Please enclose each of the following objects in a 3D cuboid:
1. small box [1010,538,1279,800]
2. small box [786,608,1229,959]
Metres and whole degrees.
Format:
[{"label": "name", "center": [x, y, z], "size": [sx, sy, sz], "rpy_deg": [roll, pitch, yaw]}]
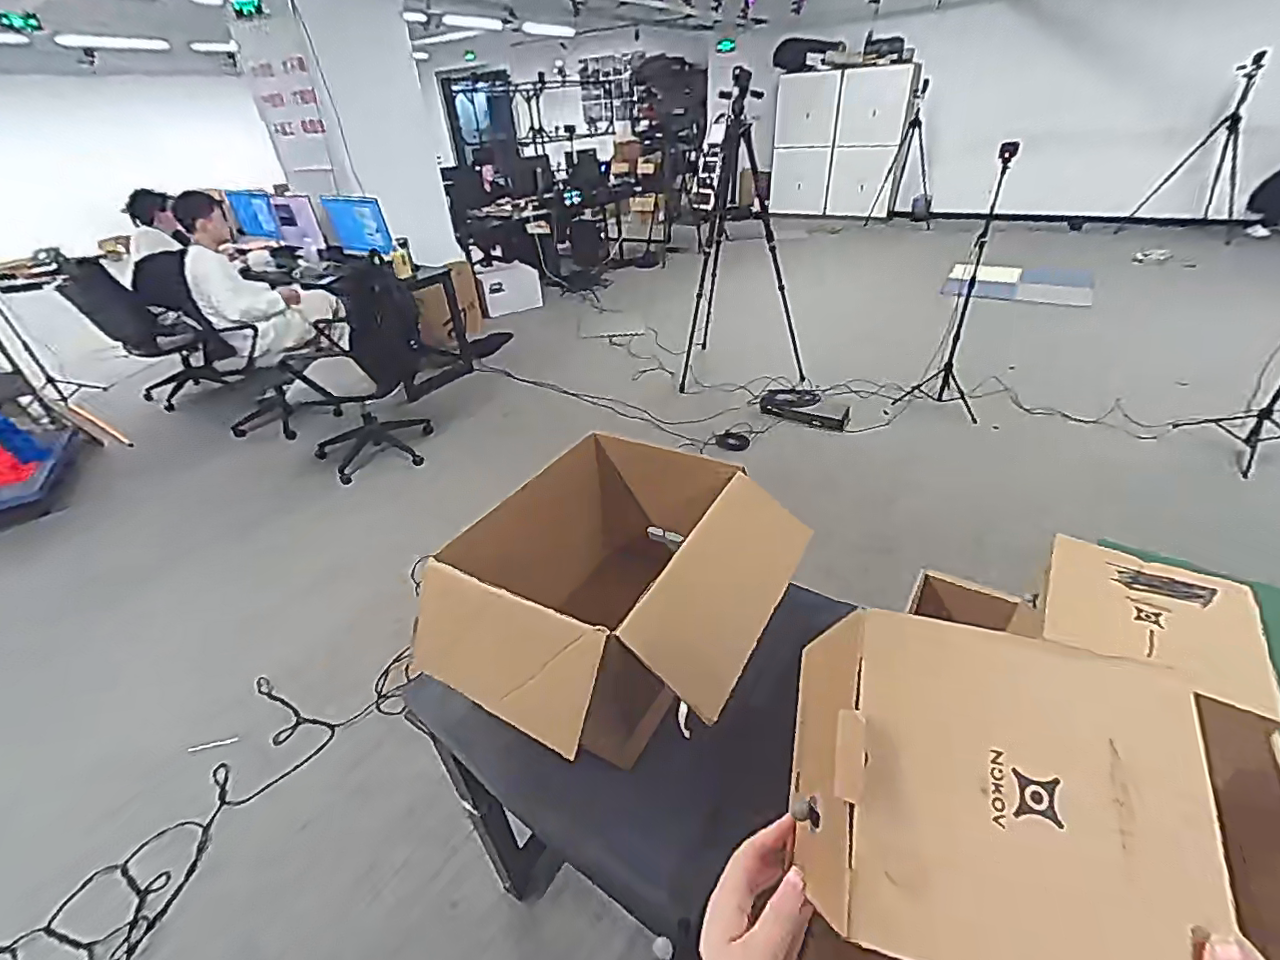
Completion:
[{"label": "small box", "center": [0.500, 0.198, 0.572], "size": [0.168, 0.176, 0.179], "rpy_deg": [18, 42, 31]}, {"label": "small box", "center": [0.200, 0.195, 0.351], "size": [0.179, 0.176, 0.168], "rpy_deg": [9, 67, 8]}]
